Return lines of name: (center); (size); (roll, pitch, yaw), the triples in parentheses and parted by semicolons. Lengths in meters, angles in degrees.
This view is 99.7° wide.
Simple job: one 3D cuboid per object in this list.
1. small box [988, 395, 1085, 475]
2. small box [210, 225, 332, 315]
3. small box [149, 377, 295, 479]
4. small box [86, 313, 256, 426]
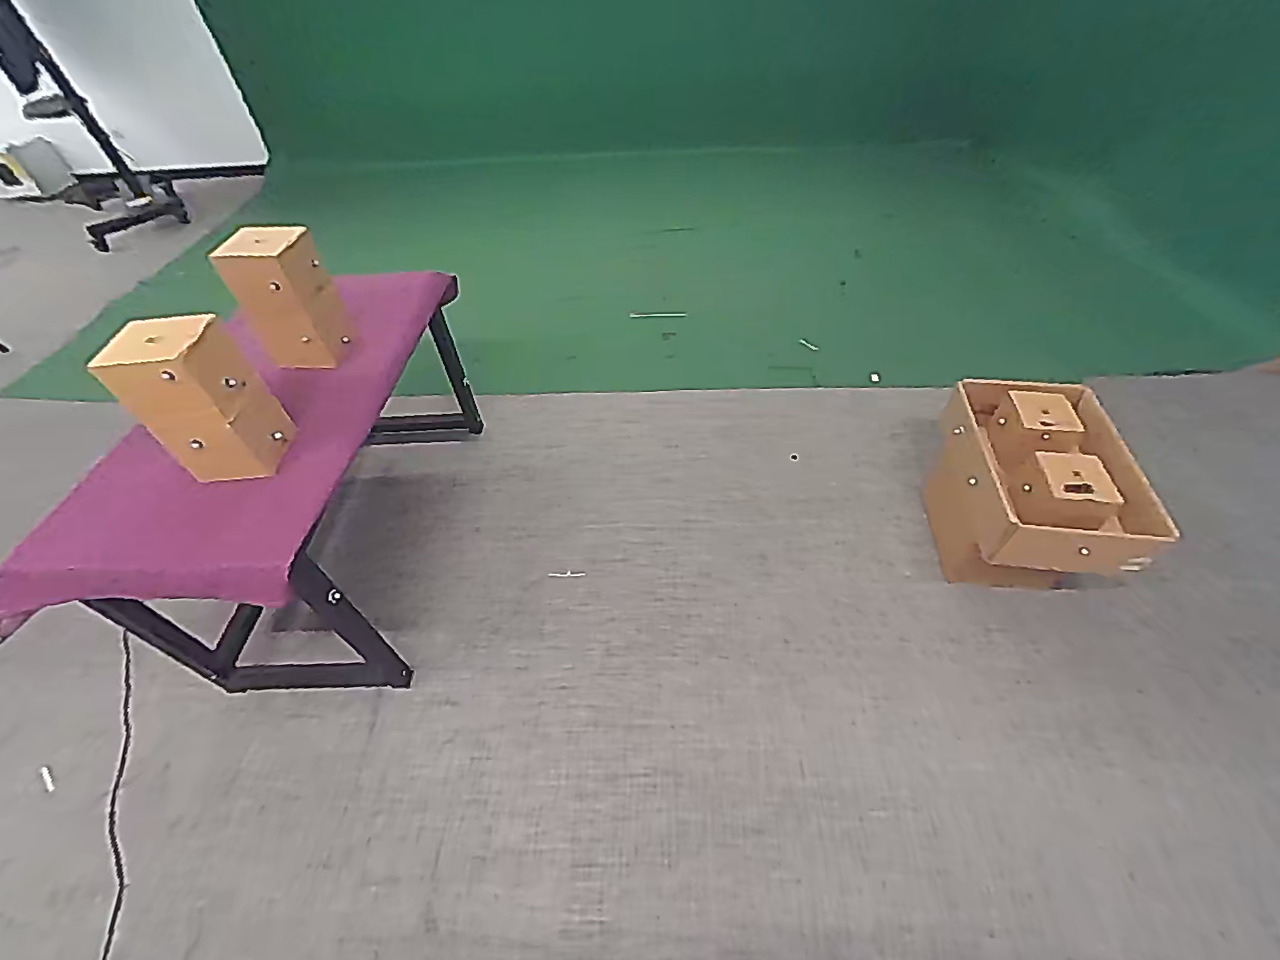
small box: (1.219, -0.141, 1.680); (0.168, 0.176, 0.179); (5, 48, 7)
small box: (-0.950, -0.546, 1.416); (0.179, 0.176, 0.168); (1, 48, 4)
small box: (-0.952, -0.117, 1.251); (0.179, 0.176, 0.168); (-4, 48, 0)
small box: (-0.963, -0.228, 1.132); (0.179, 0.176, 0.168); (-5, 47, -2)
